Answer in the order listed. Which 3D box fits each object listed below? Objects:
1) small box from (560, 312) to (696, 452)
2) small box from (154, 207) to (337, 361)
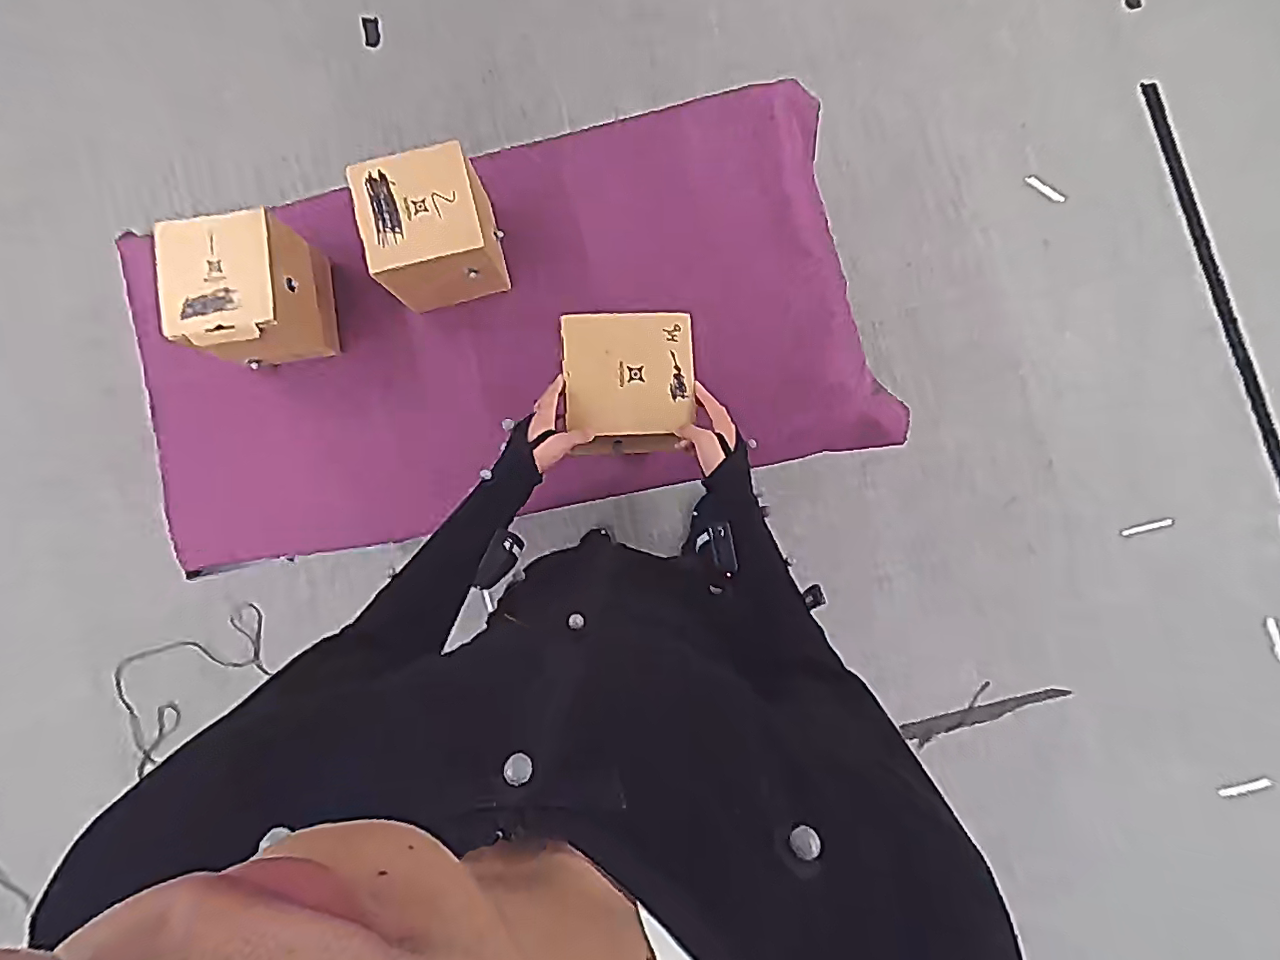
[{"bbox_3d":[-0.020,-0.132,0.784,0.179,0.176,0.168,-2,86,-5],"label":"small box"},{"bbox_3d":[-0.611,-0.296,0.860,0.168,0.176,0.179,-9,87,0],"label":"small box"}]
